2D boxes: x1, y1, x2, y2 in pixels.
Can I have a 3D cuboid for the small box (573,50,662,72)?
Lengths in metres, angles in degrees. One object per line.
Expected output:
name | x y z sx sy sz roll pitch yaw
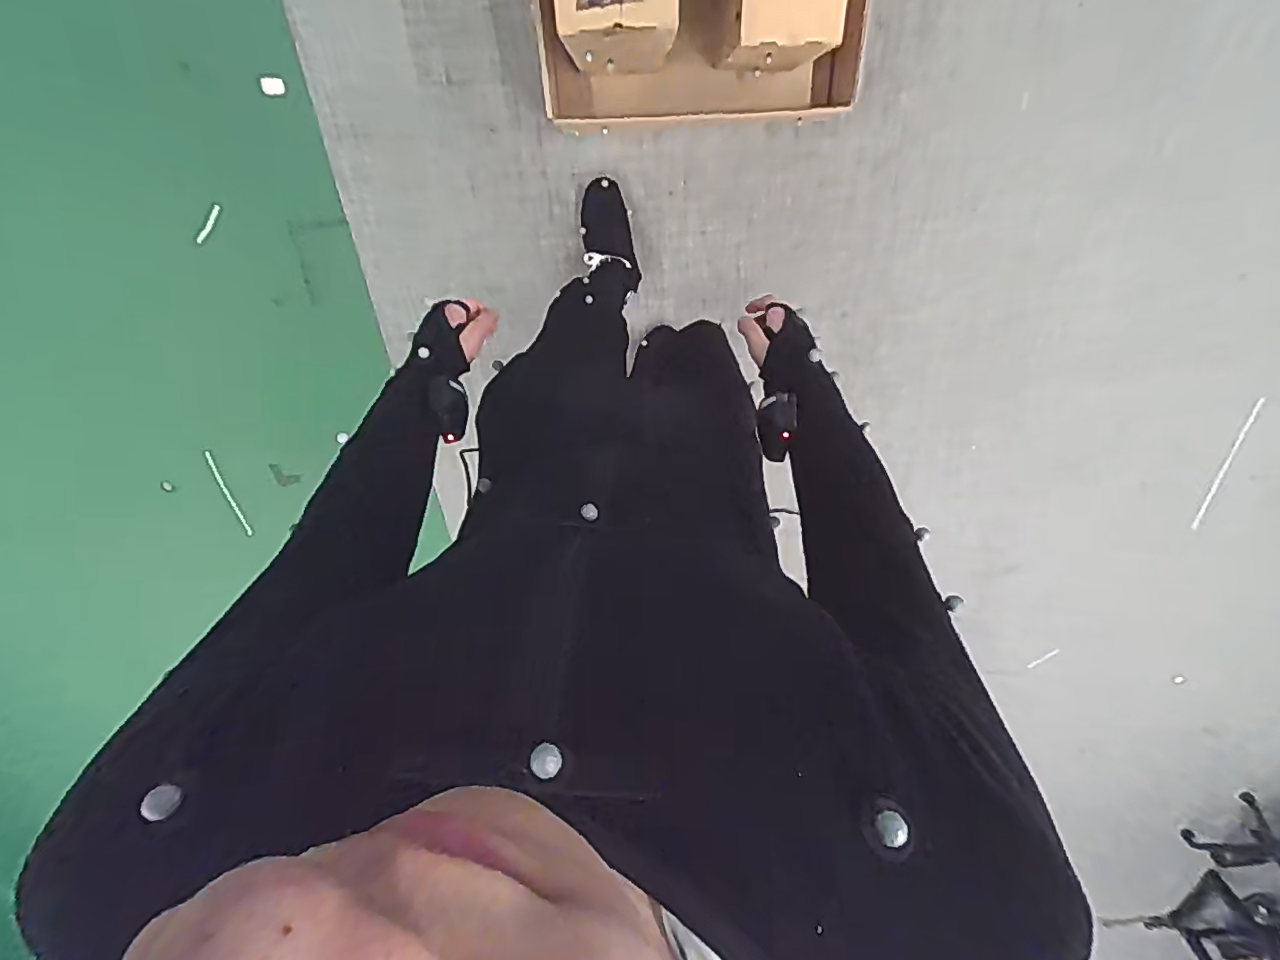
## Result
small box | -0.043 -0.890 1.016 0.168 0.176 0.179 -1 121 -1

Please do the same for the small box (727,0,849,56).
small box | 0.239 -0.813 0.881 0.168 0.176 0.179 -1 122 0

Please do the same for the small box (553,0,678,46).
small box | -0.034 -0.716 0.740 0.168 0.176 0.179 -3 121 0

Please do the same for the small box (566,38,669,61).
small box | -0.039 -0.804 0.878 0.168 0.176 0.179 -1 122 -1
